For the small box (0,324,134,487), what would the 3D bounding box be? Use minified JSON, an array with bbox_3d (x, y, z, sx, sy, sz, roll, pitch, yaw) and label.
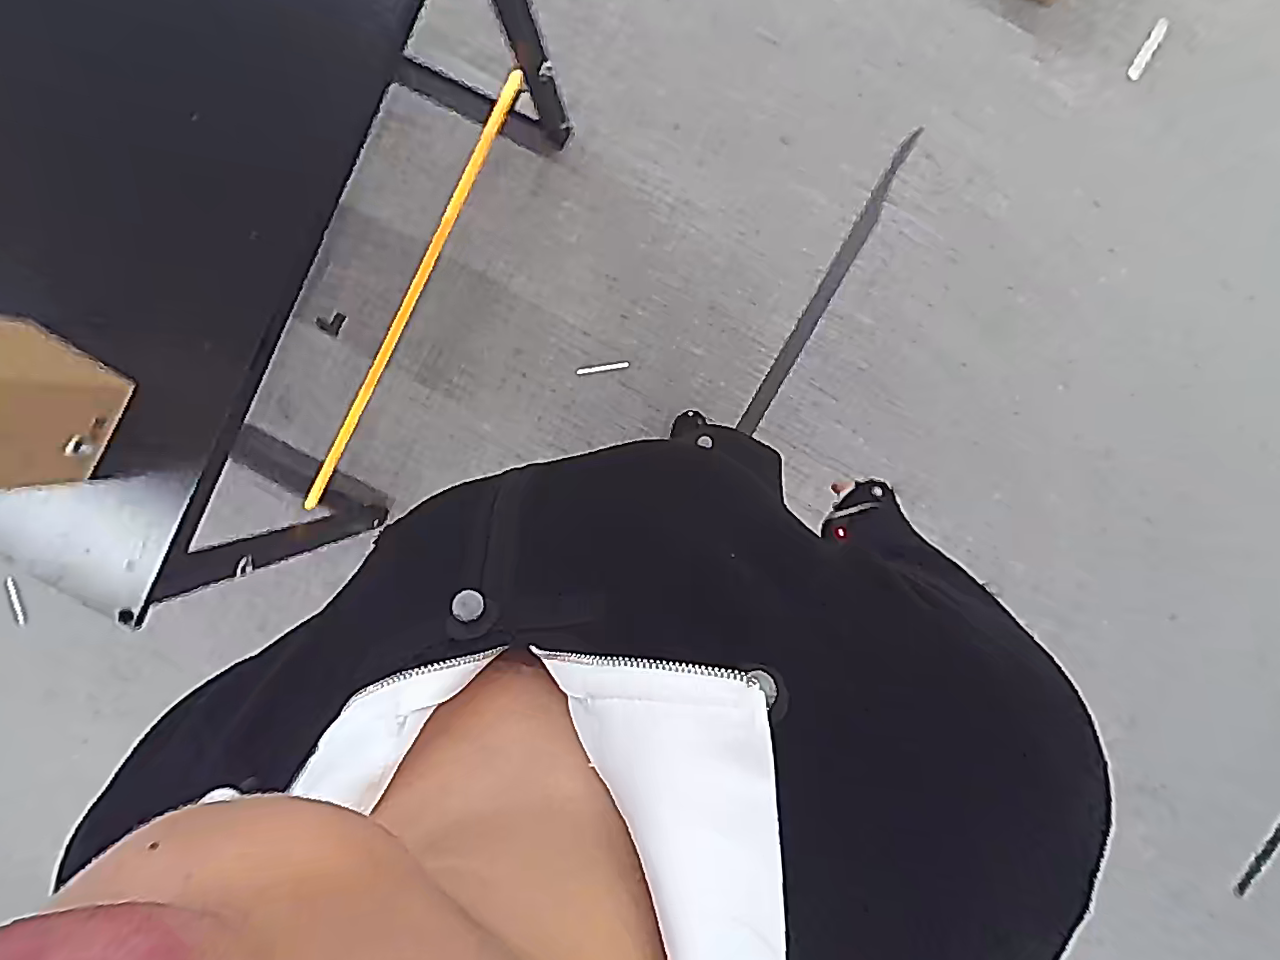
[{"bbox_3d":[-0.829,-0.097,0.693,0.179,0.176,0.168,31,97,-1],"label":"small box"}]
